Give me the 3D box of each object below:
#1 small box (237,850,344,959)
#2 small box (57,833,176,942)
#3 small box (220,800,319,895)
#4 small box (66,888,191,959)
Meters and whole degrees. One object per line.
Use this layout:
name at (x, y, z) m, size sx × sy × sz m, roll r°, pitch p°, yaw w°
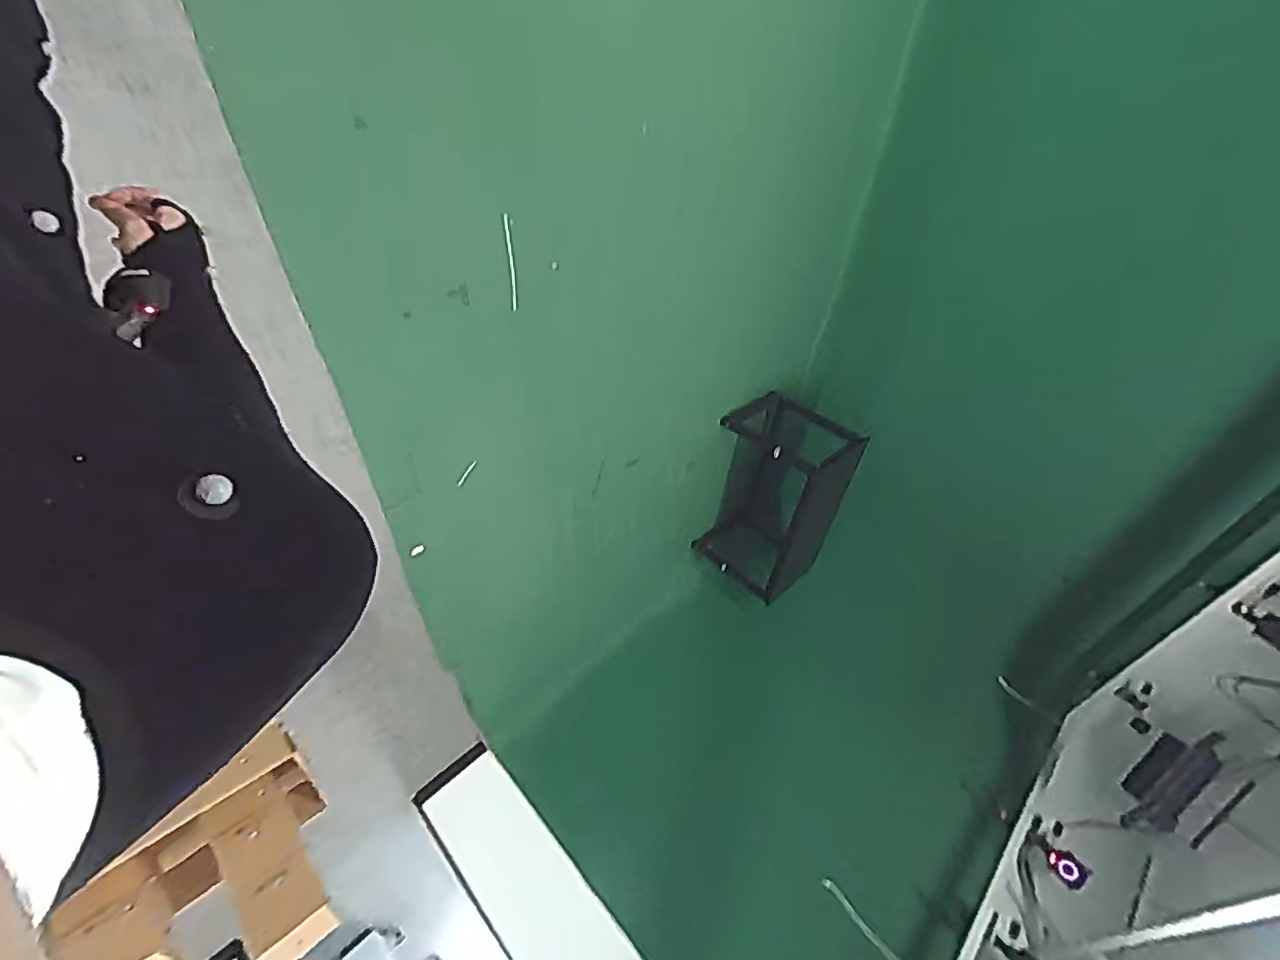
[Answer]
small box at (-0.897, 1.106, 1.392) m, size 0.168 × 0.176 × 0.179 m, roll -27°, pitch 140°, yaw -37°
small box at (-1.344, 1.058, 1.392) m, size 0.168 × 0.176 × 0.179 m, roll -27°, pitch 139°, yaw -35°
small box at (-1.007, 1.022, 1.478) m, size 0.168 × 0.176 × 0.179 m, roll -26°, pitch 140°, yaw -37°
small box at (-1.229, 1.136, 1.302) m, size 0.168 × 0.176 × 0.179 m, roll -26°, pitch 139°, yaw -36°
